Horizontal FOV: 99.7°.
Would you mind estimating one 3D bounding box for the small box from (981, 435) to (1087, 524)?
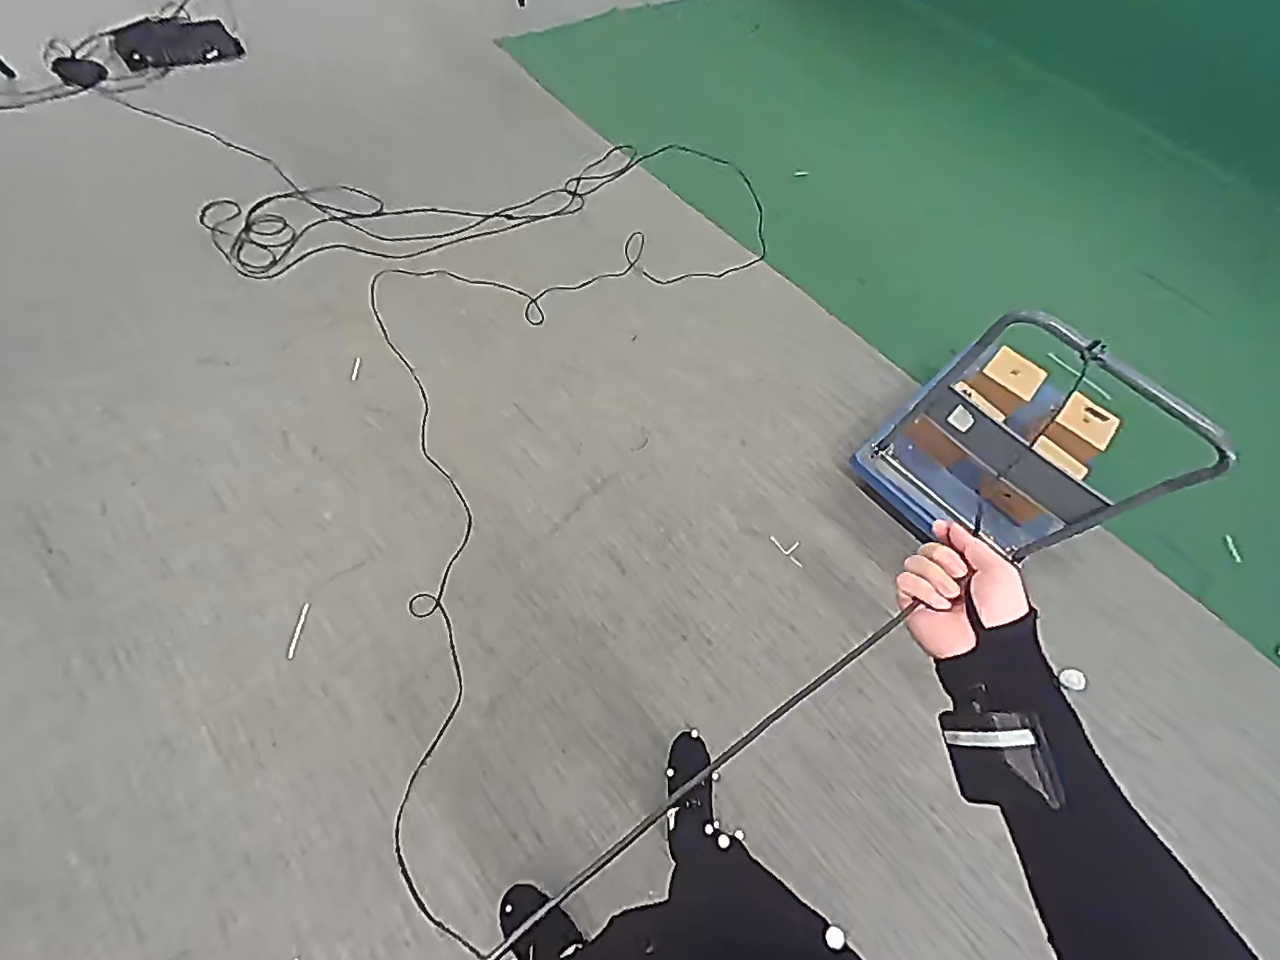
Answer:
[{"bbox_3d":[1.196,0.002,1.652,0.179,0.176,0.168,-36,72,-23],"label":"small box"}]

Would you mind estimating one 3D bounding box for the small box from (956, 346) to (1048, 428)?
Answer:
[{"bbox_3d":[1.211,-0.309,1.825,0.168,0.176,0.179,42,64,14],"label":"small box"}]

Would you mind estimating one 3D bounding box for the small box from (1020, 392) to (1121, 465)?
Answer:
[{"bbox_3d":[1.393,-0.147,1.761,0.168,0.176,0.179,42,65,15],"label":"small box"}]
